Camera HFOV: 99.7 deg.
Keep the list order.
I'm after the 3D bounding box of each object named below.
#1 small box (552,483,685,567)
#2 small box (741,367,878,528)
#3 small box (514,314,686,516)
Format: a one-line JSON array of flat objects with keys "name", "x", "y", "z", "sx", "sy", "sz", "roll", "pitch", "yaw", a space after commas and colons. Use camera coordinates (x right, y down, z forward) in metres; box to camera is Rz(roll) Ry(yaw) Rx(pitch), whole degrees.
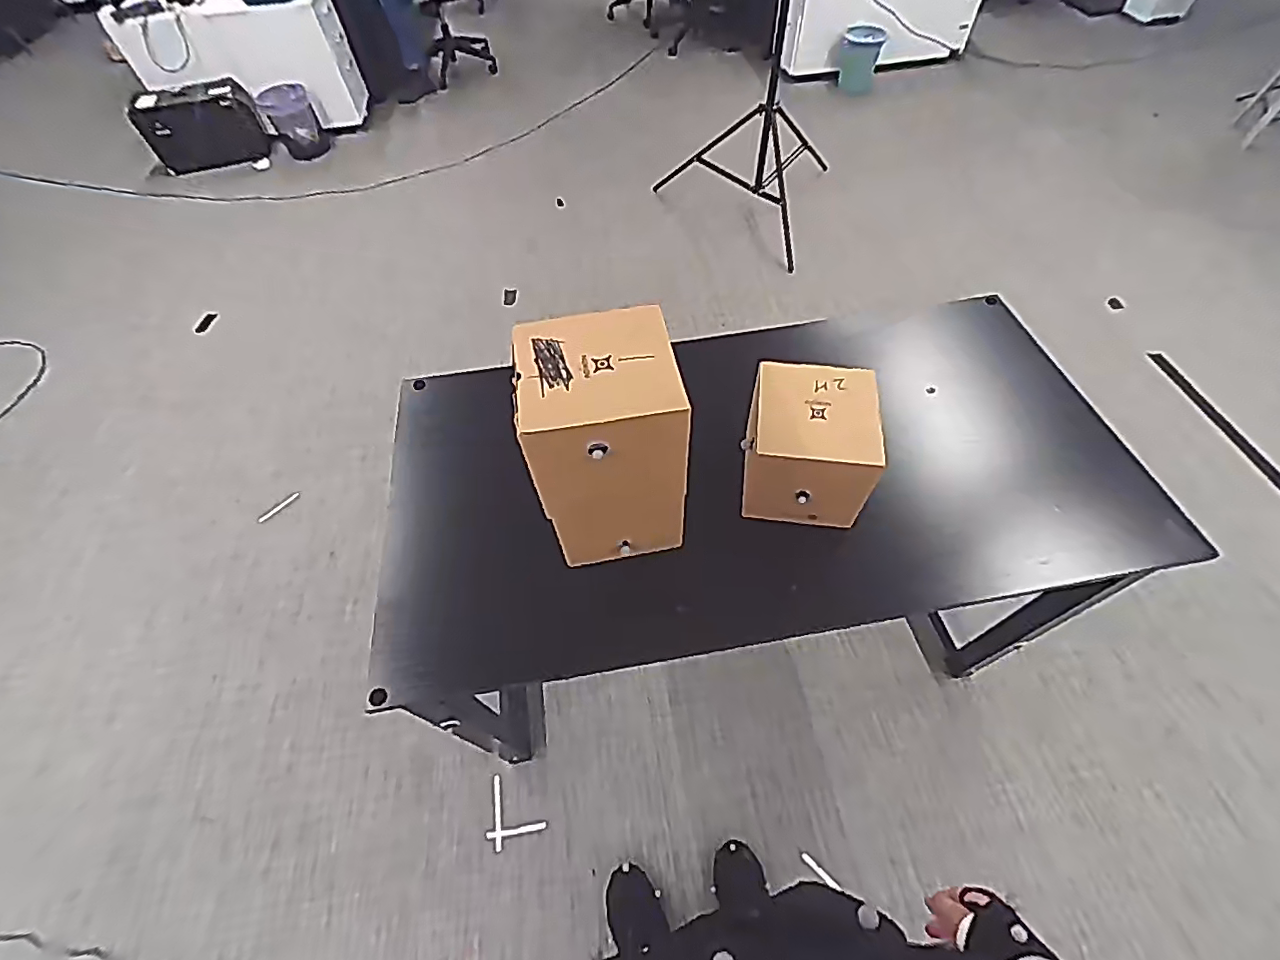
[{"name": "small box", "x": -0.040, "y": 0.011, "z": 0.801, "sx": 0.179, "sy": 0.176, "sz": 0.168, "roll": -10, "pitch": 56, "yaw": -5}, {"name": "small box", "x": 0.248, "y": -0.045, "z": 0.822, "sx": 0.168, "sy": 0.176, "sz": 0.179, "roll": 6, "pitch": 56, "yaw": 7}, {"name": "small box", "x": -0.045, "y": -0.072, "z": 0.657, "sx": 0.179, "sy": 0.176, "sz": 0.168, "roll": -9, "pitch": 56, "yaw": -4}]
